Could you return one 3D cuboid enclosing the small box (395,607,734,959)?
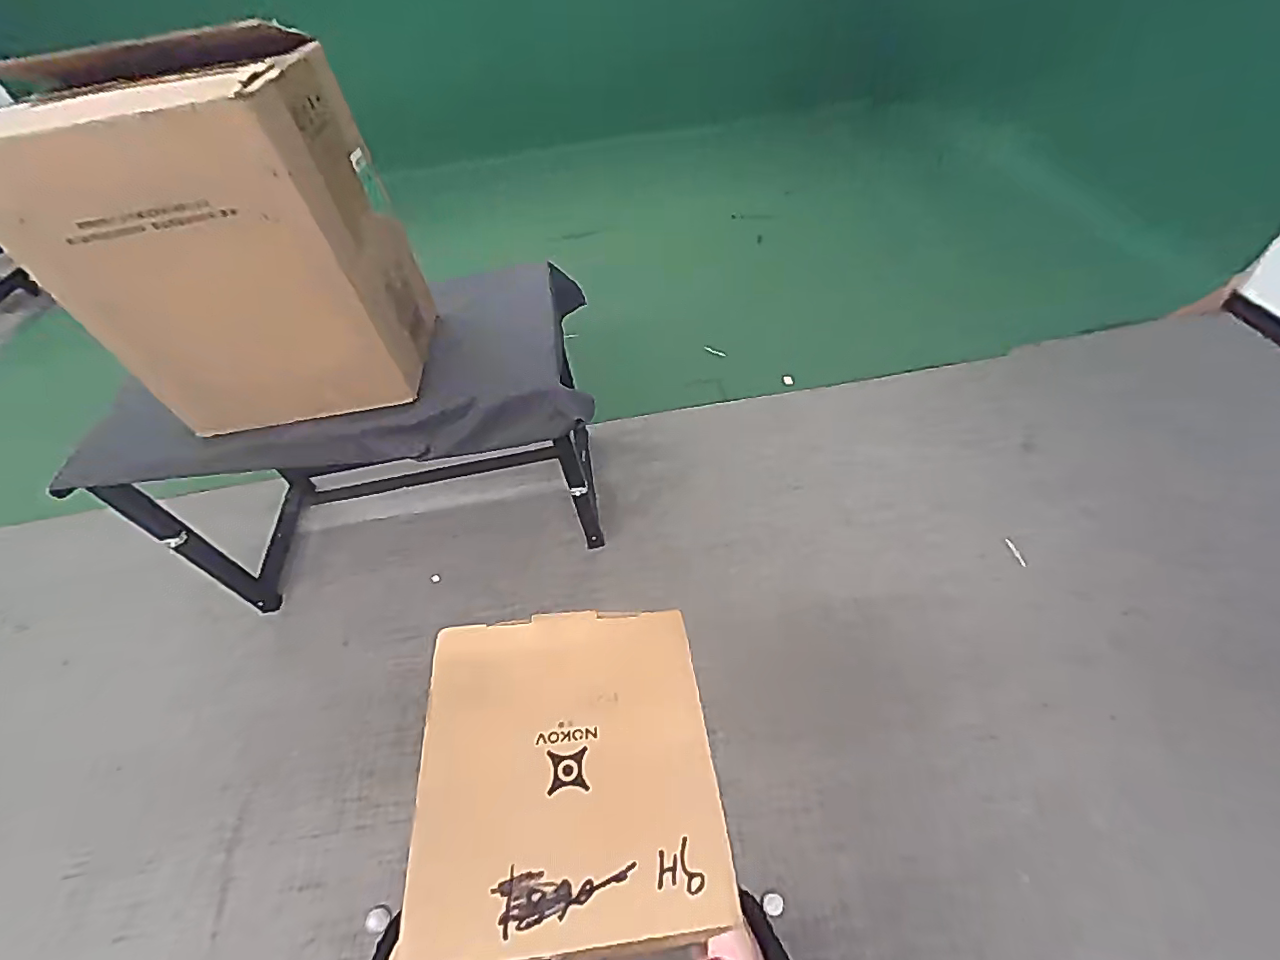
[{"bbox_3d":[-0.047,0.211,0.373,0.168,0.176,0.179,-3,47,-7],"label":"small box"}]
